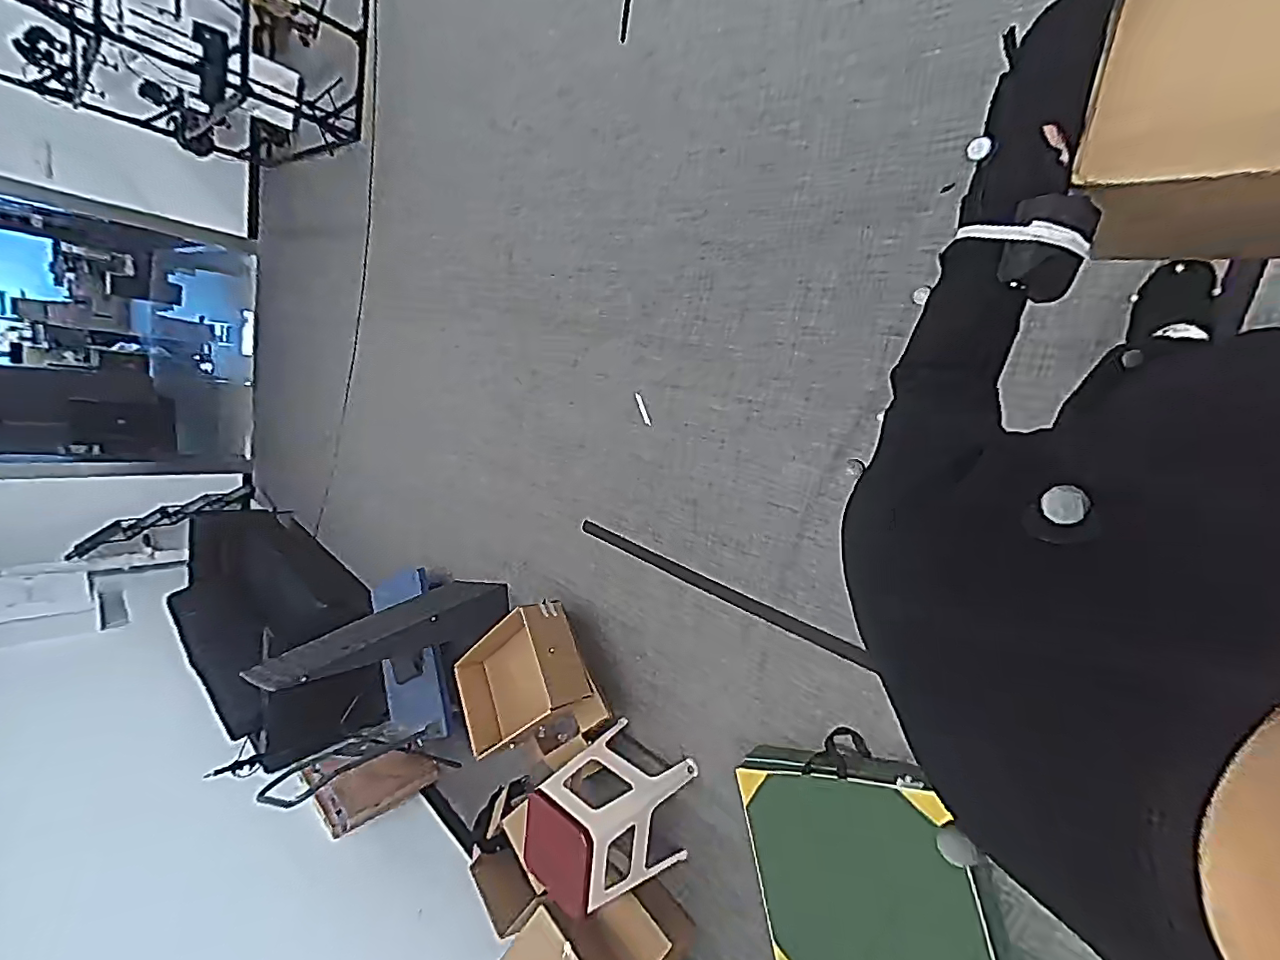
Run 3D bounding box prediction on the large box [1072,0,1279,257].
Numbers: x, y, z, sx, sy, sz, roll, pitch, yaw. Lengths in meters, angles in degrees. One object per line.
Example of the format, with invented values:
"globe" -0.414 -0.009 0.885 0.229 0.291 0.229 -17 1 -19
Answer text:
"large box" 0.587 -0.350 0.368 0.408 0.320 0.320 17 109 39
